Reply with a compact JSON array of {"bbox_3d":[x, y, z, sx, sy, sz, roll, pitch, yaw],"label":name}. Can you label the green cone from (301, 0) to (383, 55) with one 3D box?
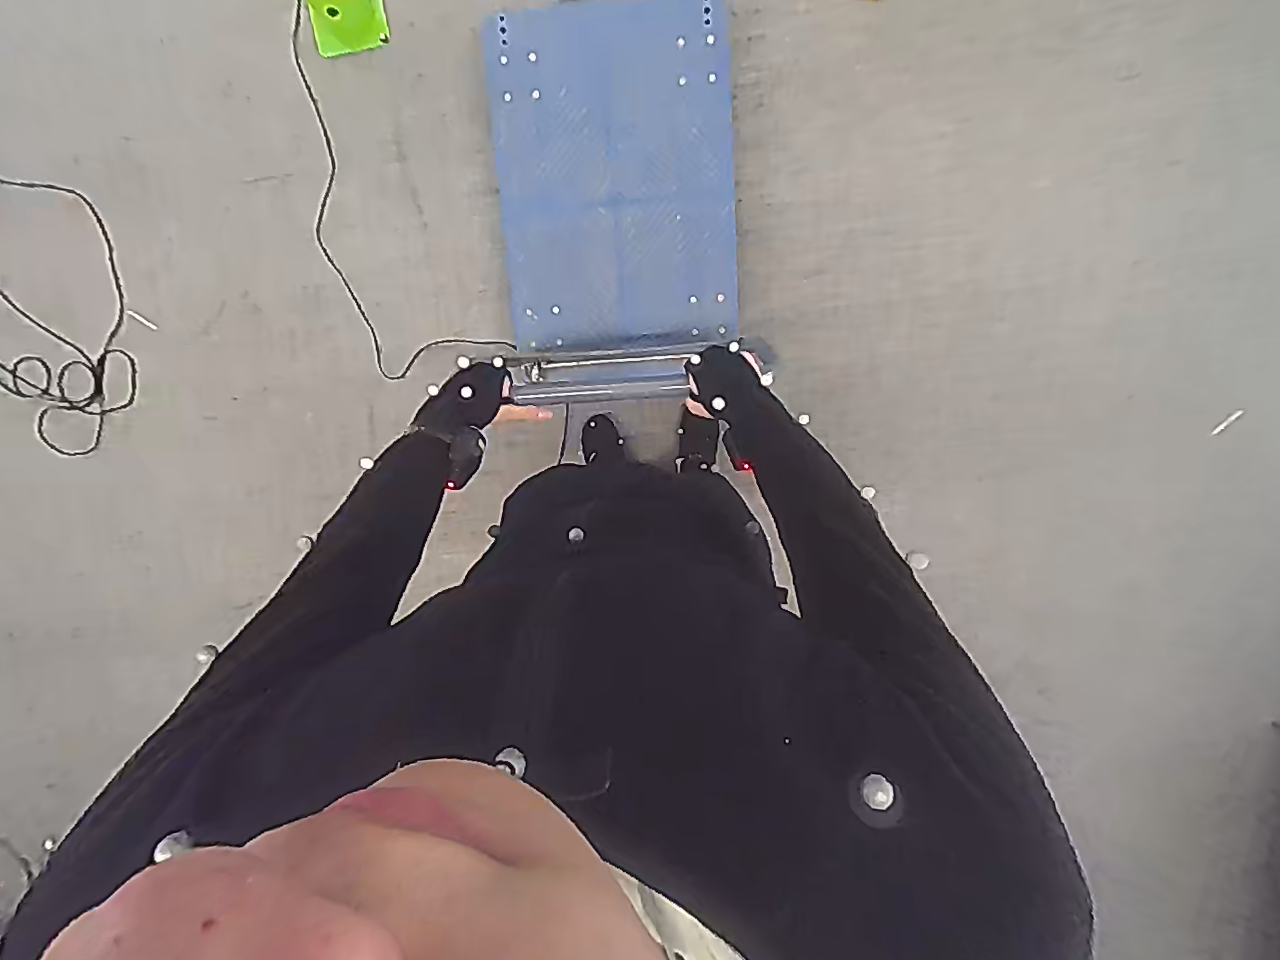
[{"bbox_3d":[-0.794,-1.207,1.241,0.202,0.368,0.200,-9,100,6],"label":"green cone"}]
